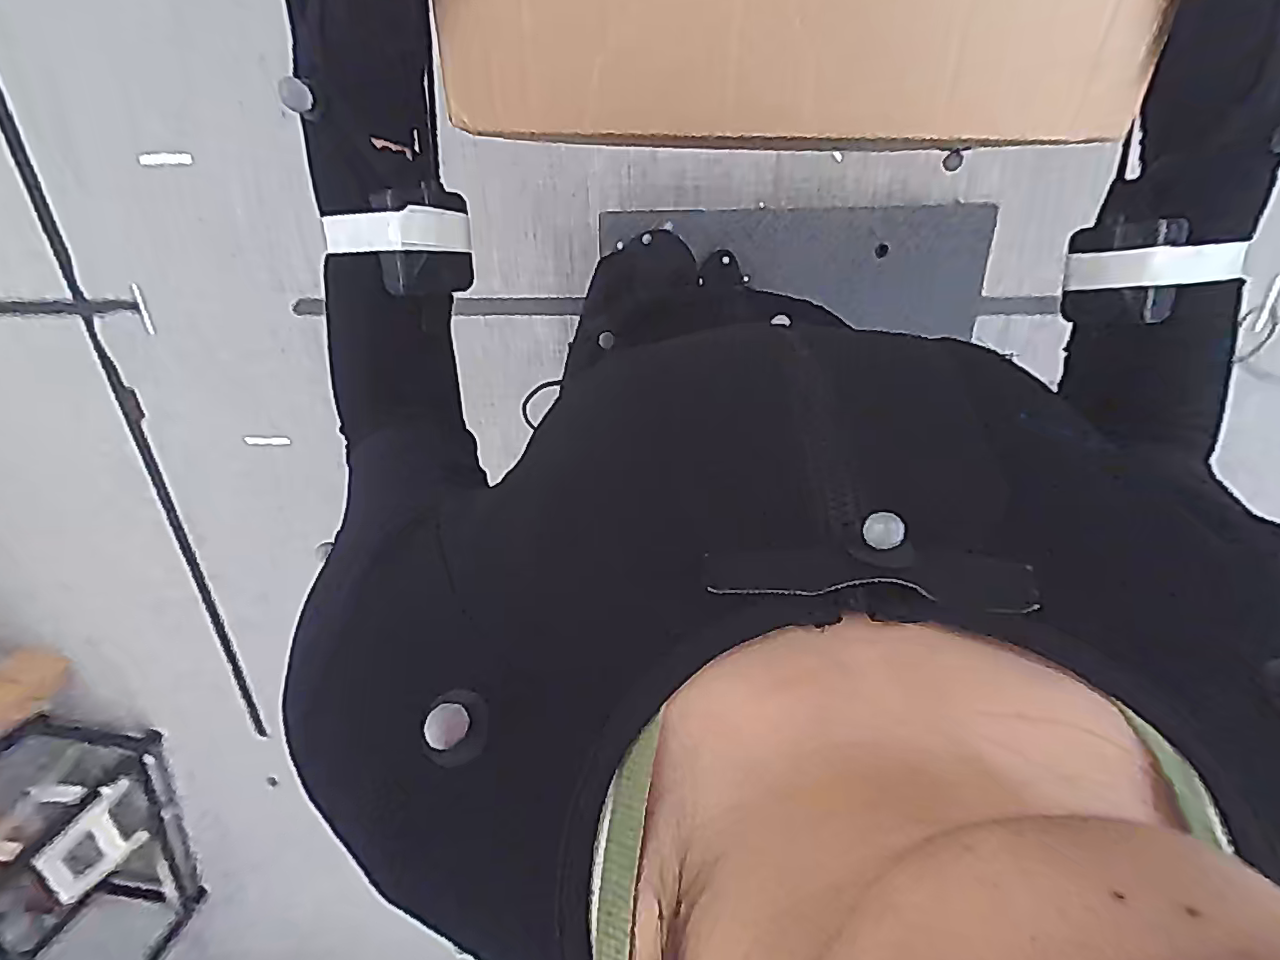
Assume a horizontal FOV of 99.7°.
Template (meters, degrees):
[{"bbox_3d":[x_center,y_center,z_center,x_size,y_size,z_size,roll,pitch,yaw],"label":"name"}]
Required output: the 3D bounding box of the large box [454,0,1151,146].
[{"bbox_3d":[0.095,-0.425,0.385,0.408,0.320,0.320,1,120,-1],"label":"large box"}]

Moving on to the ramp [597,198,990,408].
[{"bbox_3d":[0.397,-0.455,1.413,0.991,0.206,0.509,-1,112,5],"label":"ramp"}]
